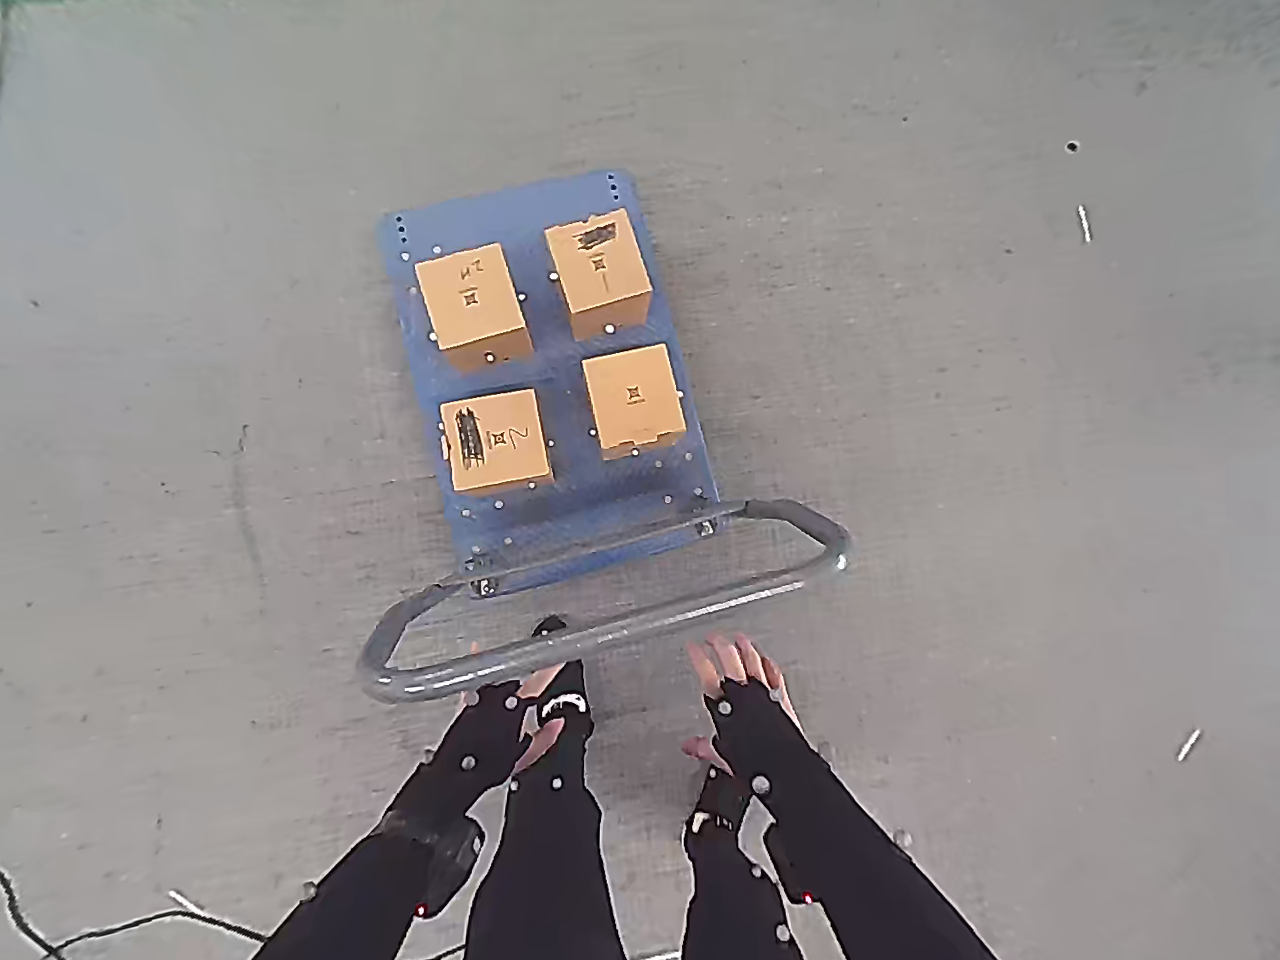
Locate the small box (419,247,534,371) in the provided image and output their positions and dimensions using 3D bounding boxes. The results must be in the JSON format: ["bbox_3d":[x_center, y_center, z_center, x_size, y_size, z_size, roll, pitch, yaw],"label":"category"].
[{"bbox_3d":[-0.319,-0.332,1.091,0.168,0.176,0.179,-17,86,-7],"label":"small box"}]

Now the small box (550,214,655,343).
[{"bbox_3d":[-0.079,-0.408,1.117,0.168,0.176,0.179,-17,87,-5],"label":"small box"}]

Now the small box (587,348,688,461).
[{"bbox_3d":[-0.014,-0.146,1.100,0.168,0.176,0.179,-13,86,-6],"label":"small box"}]
